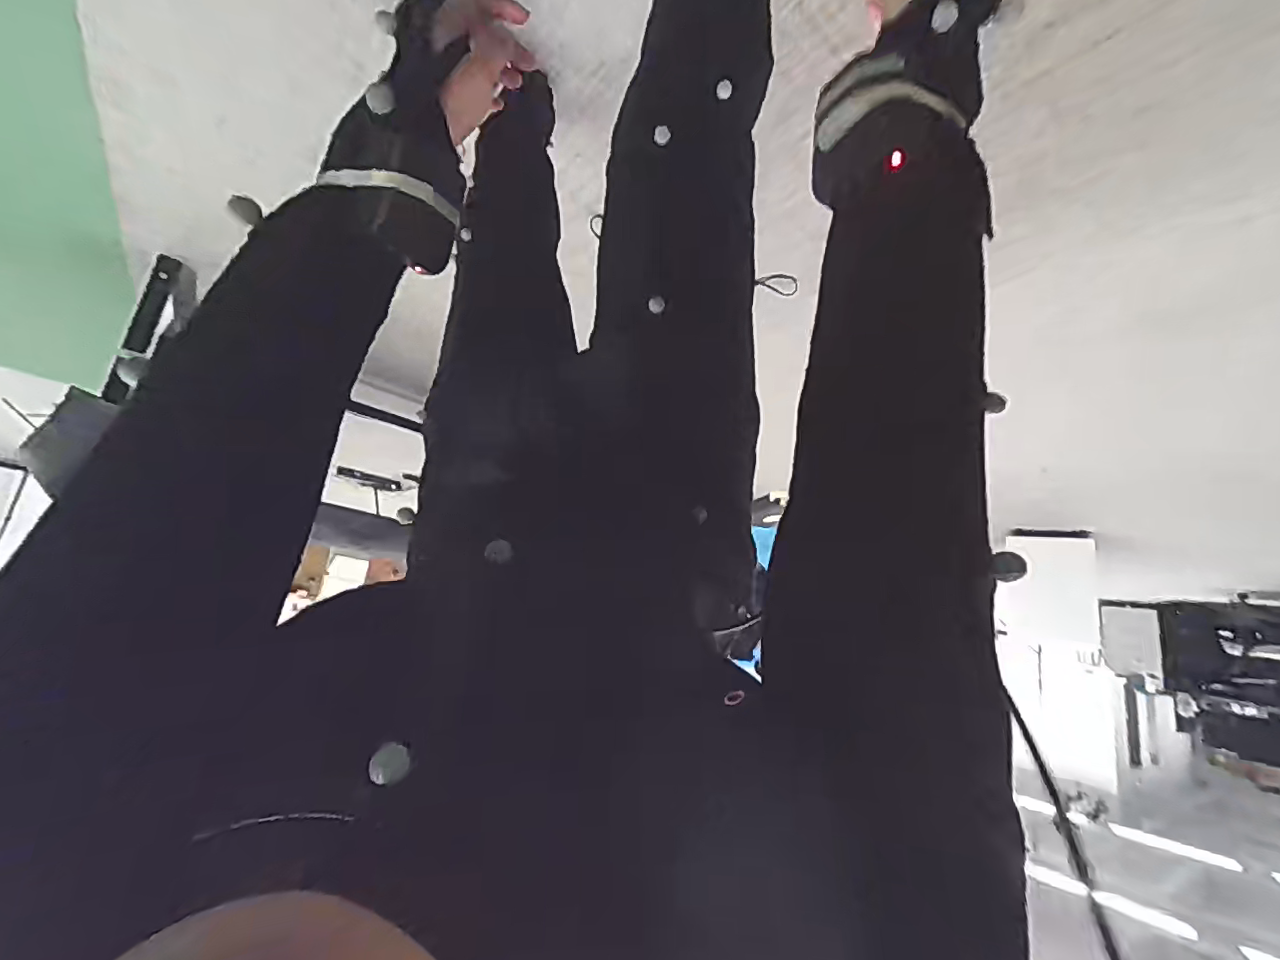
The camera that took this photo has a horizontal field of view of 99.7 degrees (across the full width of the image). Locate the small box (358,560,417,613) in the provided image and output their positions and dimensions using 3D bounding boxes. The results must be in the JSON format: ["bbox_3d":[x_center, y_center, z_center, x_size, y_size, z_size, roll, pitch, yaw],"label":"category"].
[{"bbox_3d":[-0.938,0.395,2.014,0.168,0.176,0.179,15,164,-22],"label":"small box"}]
